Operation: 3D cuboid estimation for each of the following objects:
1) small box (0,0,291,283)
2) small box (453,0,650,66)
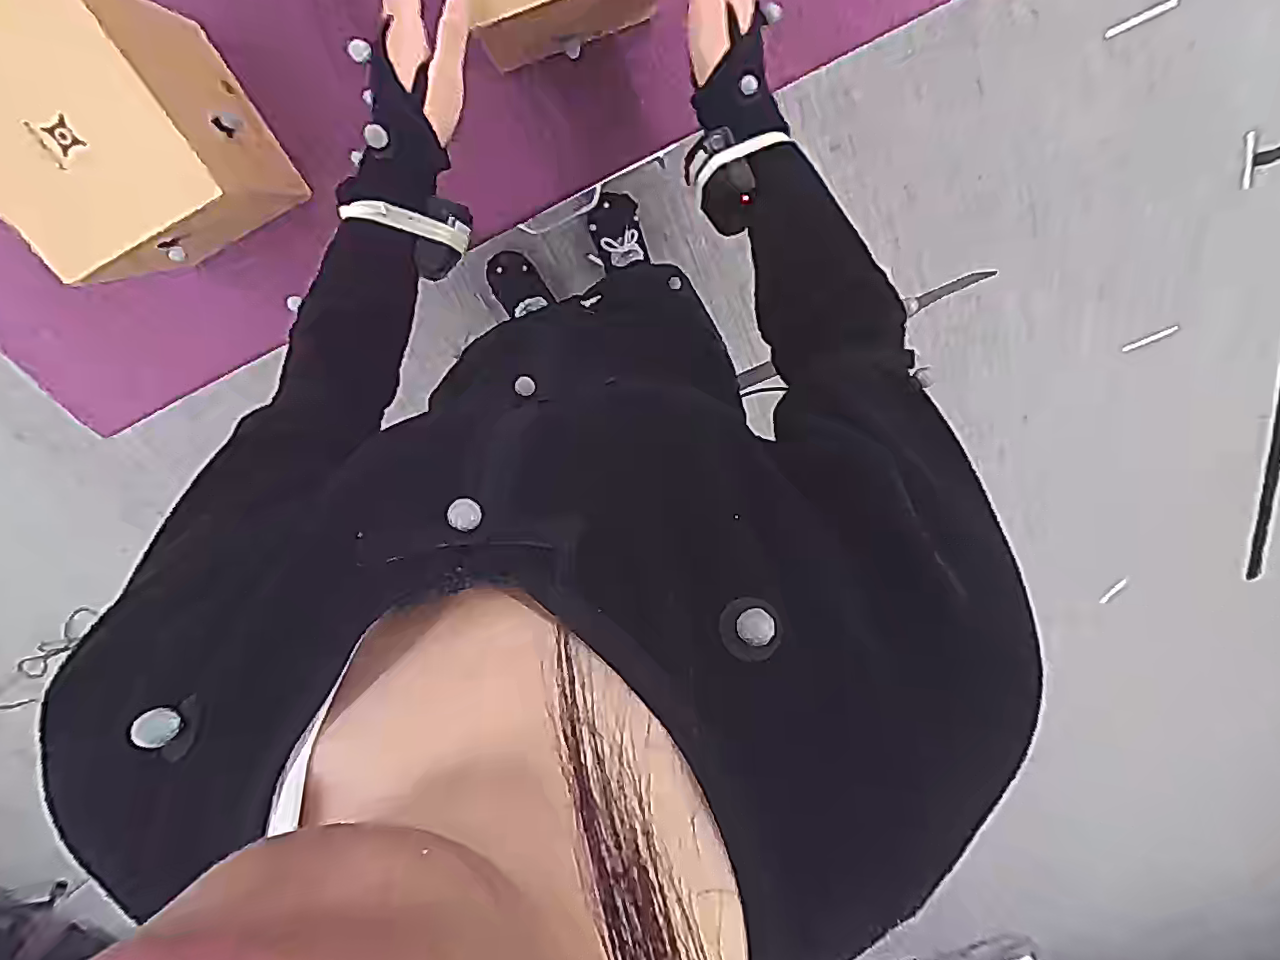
[{"bbox_3d":[-0.463,-0.308,0.494,0.179,0.176,0.168,-24,118,8],"label":"small box"},{"bbox_3d":[-0.087,-0.475,0.436,0.168,0.176,0.179,-16,119,4],"label":"small box"}]
